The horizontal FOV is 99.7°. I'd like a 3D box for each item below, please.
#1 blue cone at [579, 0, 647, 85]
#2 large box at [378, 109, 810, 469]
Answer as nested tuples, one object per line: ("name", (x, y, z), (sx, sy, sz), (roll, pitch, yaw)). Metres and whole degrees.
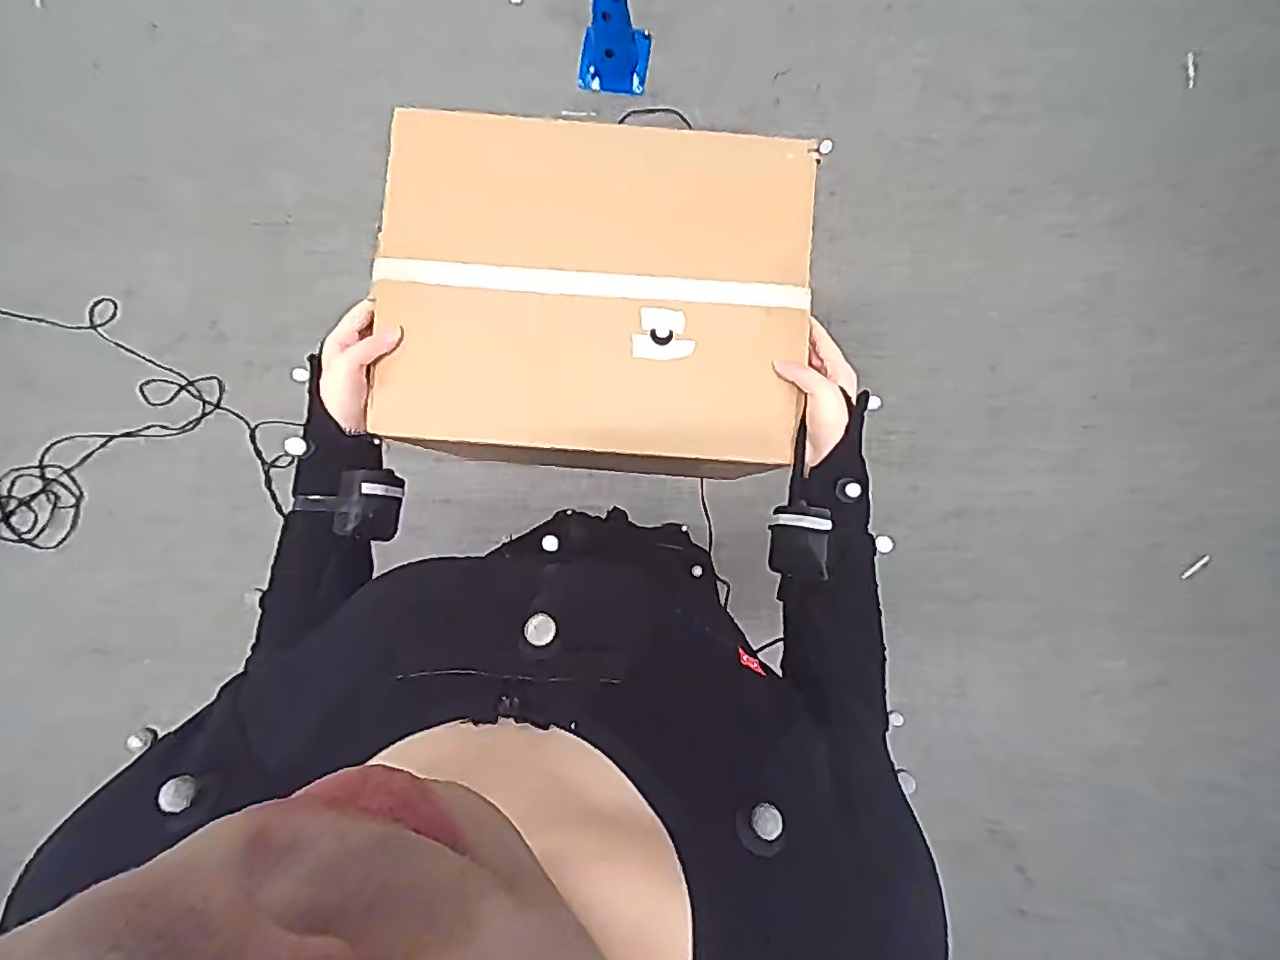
("blue cone", (-0.083, -1.273, 1.431), (0.193, 0.380, 0.192), (10, 86, 2))
("large box", (-0.047, -0.185, 0.663), (0.408, 0.320, 0.320), (4, 88, -2))
